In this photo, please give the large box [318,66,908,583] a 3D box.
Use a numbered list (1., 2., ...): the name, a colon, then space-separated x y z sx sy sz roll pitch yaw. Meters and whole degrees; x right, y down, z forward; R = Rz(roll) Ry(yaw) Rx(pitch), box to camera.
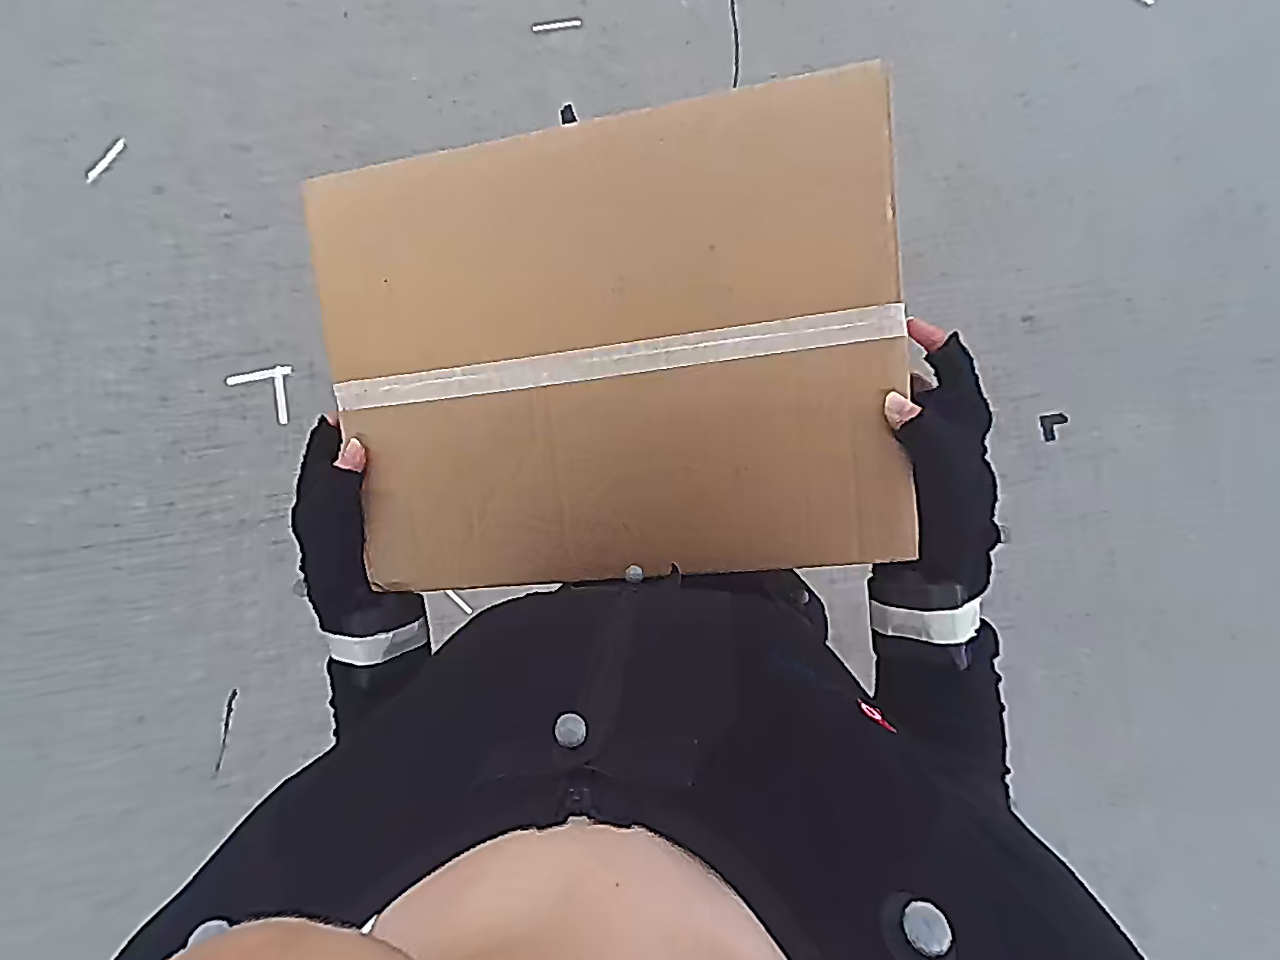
1. large box: -0.004 -0.108 0.529 0.408 0.320 0.320 -5 96 10
